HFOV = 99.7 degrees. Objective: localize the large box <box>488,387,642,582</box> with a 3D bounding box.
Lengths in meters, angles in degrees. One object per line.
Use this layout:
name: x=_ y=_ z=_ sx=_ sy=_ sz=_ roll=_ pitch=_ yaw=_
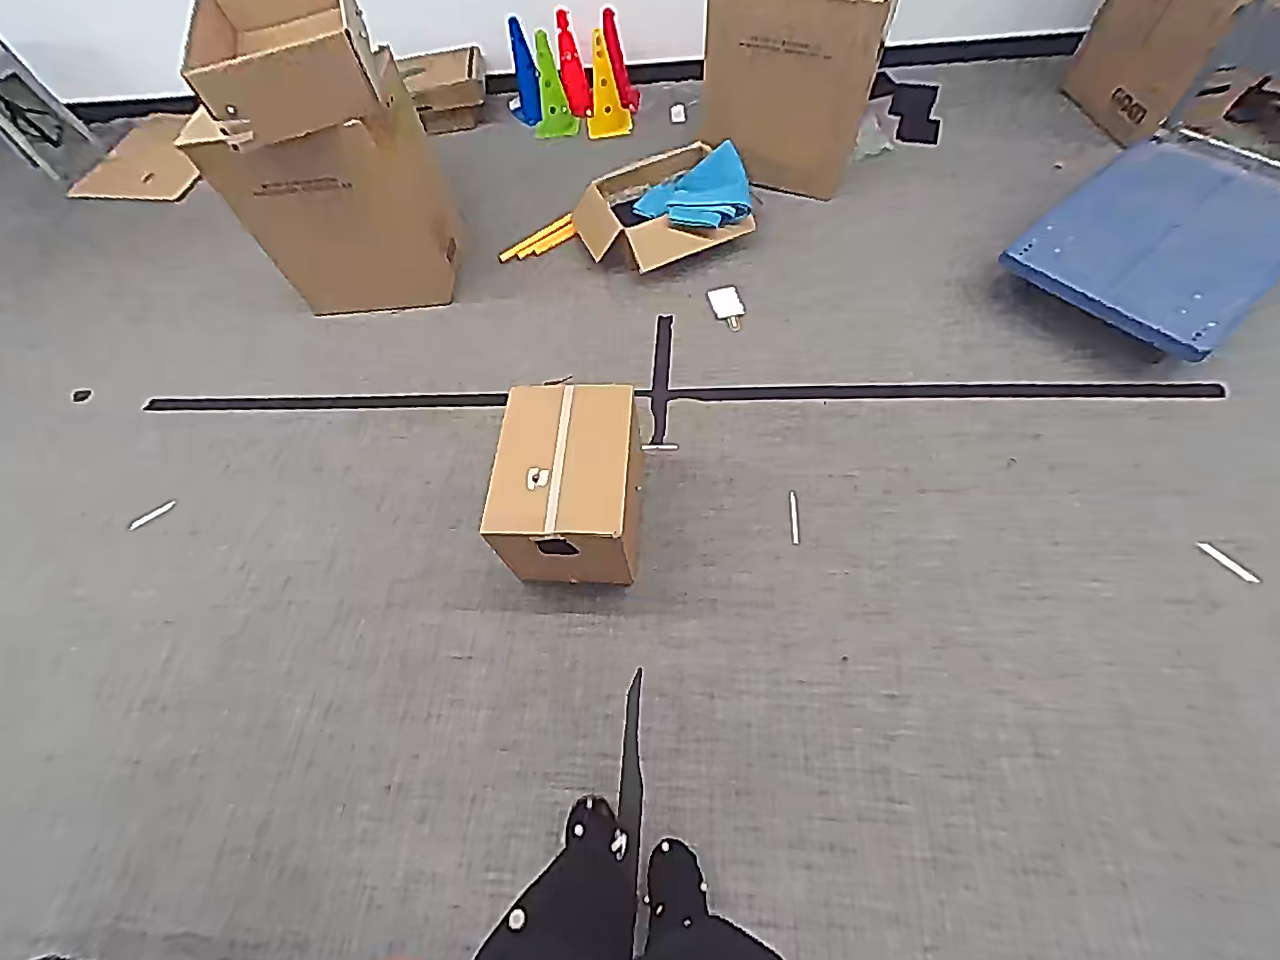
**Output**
large box: x=-0.159 y=0.018 z=1.370 sx=0.320 sy=0.320 sz=0.408 roll=-1 pitch=61 yaw=6
